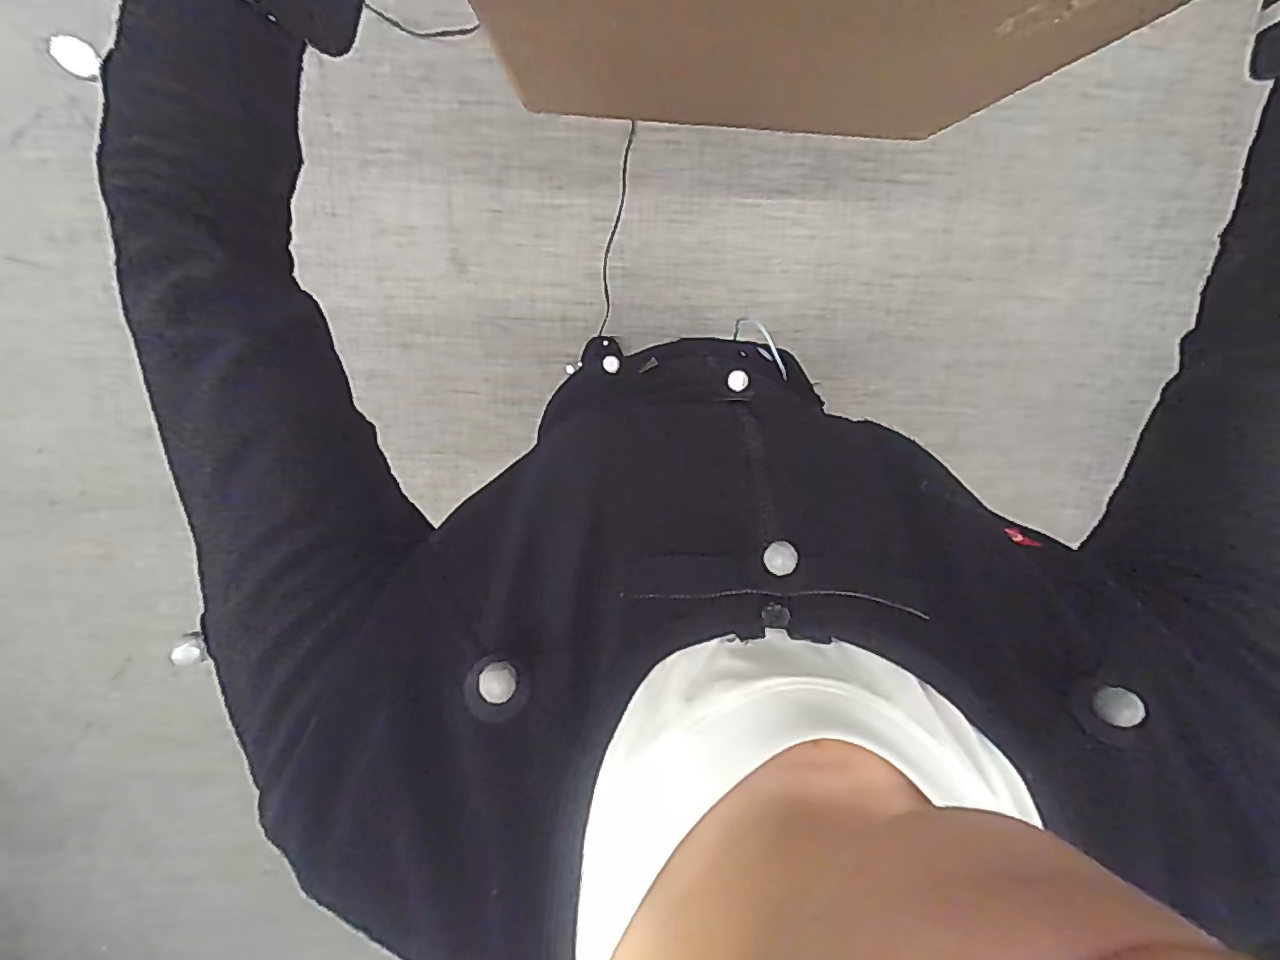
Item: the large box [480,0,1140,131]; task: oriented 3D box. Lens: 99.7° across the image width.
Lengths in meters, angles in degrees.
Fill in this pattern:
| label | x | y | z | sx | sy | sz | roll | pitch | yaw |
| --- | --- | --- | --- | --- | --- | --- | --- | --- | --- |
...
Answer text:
| label | x | y | z | sx | sy | sz | roll | pitch | yaw |
| --- | --- | --- | --- | --- | --- | --- | --- | --- | --- |
| large box | 0.097 | -0.451 | 0.351 | 0.408 | 0.320 | 0.320 | 2 | 109 | -2 |
